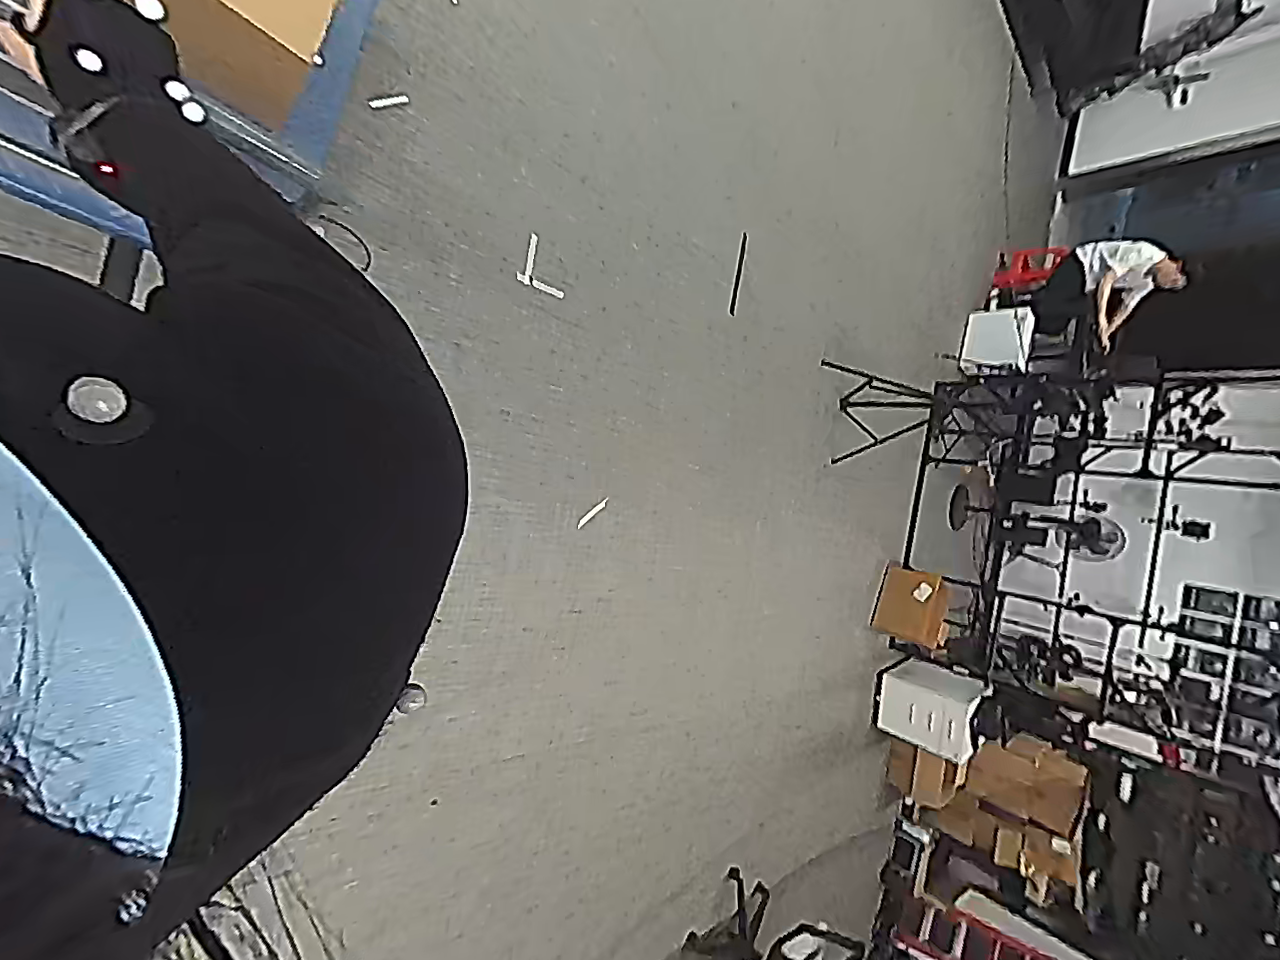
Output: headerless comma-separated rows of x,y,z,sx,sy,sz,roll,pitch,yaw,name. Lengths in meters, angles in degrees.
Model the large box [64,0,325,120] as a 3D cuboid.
-0.735,-0.886,0.853,0.408,0.320,0.320,20,82,-42,large box
